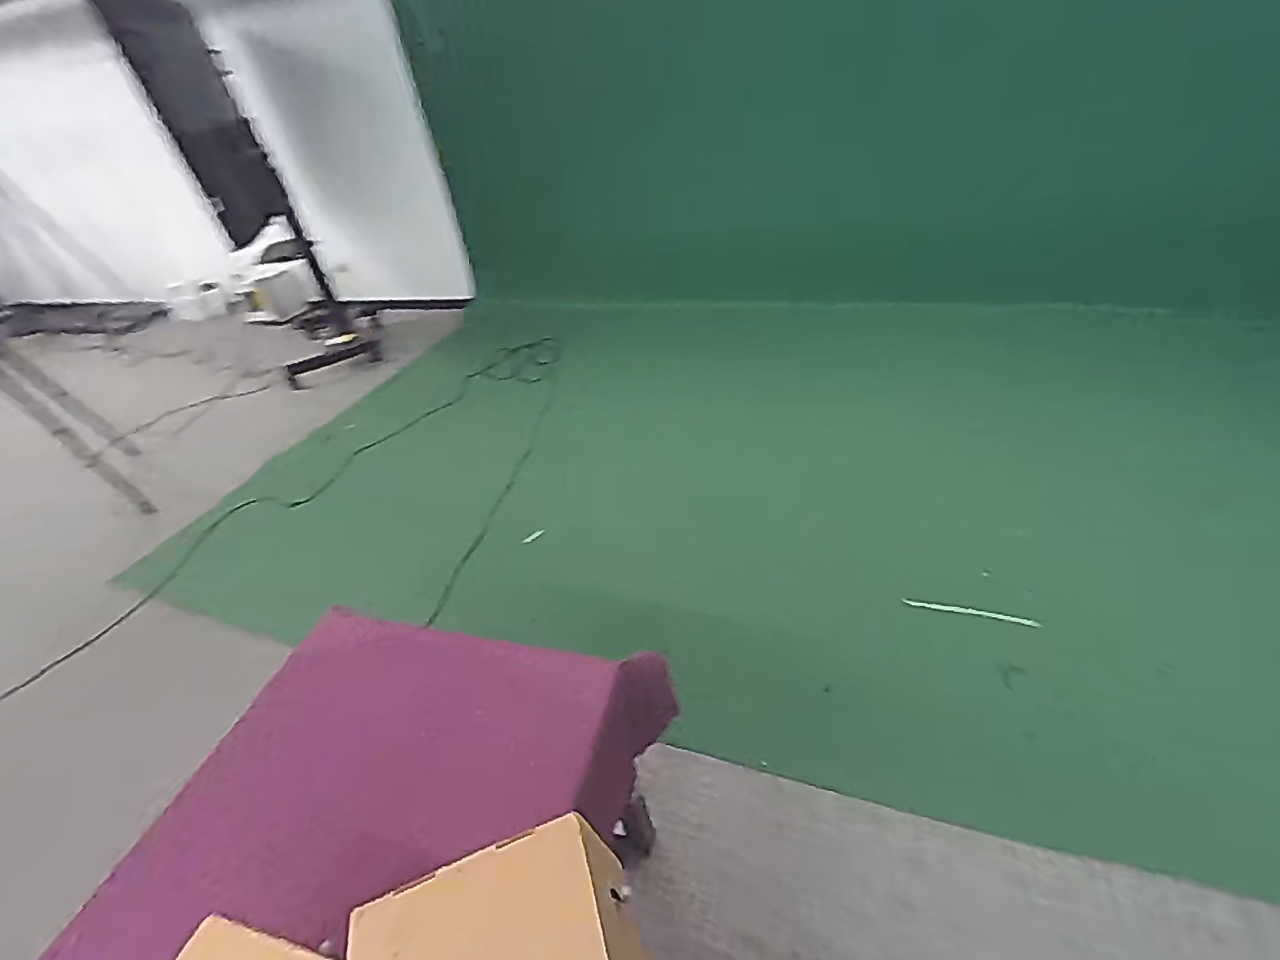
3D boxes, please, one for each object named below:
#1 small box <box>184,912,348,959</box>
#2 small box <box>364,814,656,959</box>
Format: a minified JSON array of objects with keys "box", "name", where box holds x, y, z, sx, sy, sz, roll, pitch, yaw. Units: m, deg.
[{"box":[-0.364,0.561,0.515,0.168,0.176,0.179,3,40,16],"name":"small box"},{"box":[-0.075,0.378,0.378,0.168,0.176,0.179,-20,44,-6],"name":"small box"}]
